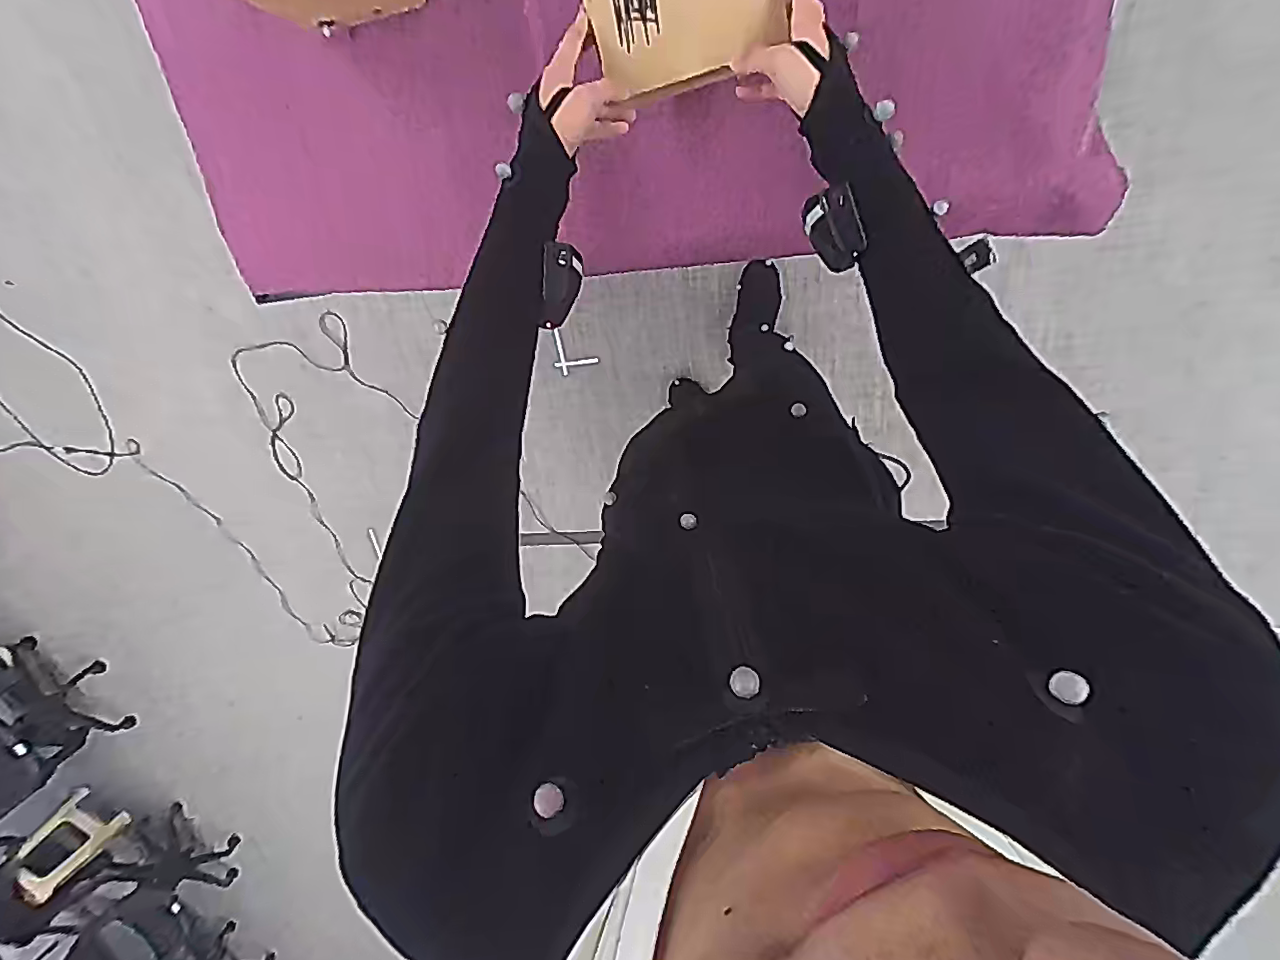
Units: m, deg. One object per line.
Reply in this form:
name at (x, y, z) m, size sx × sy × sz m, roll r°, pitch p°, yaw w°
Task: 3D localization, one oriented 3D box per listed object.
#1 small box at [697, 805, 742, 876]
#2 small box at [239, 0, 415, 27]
small box at (0.331, 1.477, 2.218) m, size 0.168 × 0.176 × 0.179 m, roll -4°, pitch 111°, yaw 12°
small box at (-0.386, -0.653, 0.612) m, size 0.168 × 0.176 × 0.179 m, roll -4°, pitch 113°, yaw 12°
